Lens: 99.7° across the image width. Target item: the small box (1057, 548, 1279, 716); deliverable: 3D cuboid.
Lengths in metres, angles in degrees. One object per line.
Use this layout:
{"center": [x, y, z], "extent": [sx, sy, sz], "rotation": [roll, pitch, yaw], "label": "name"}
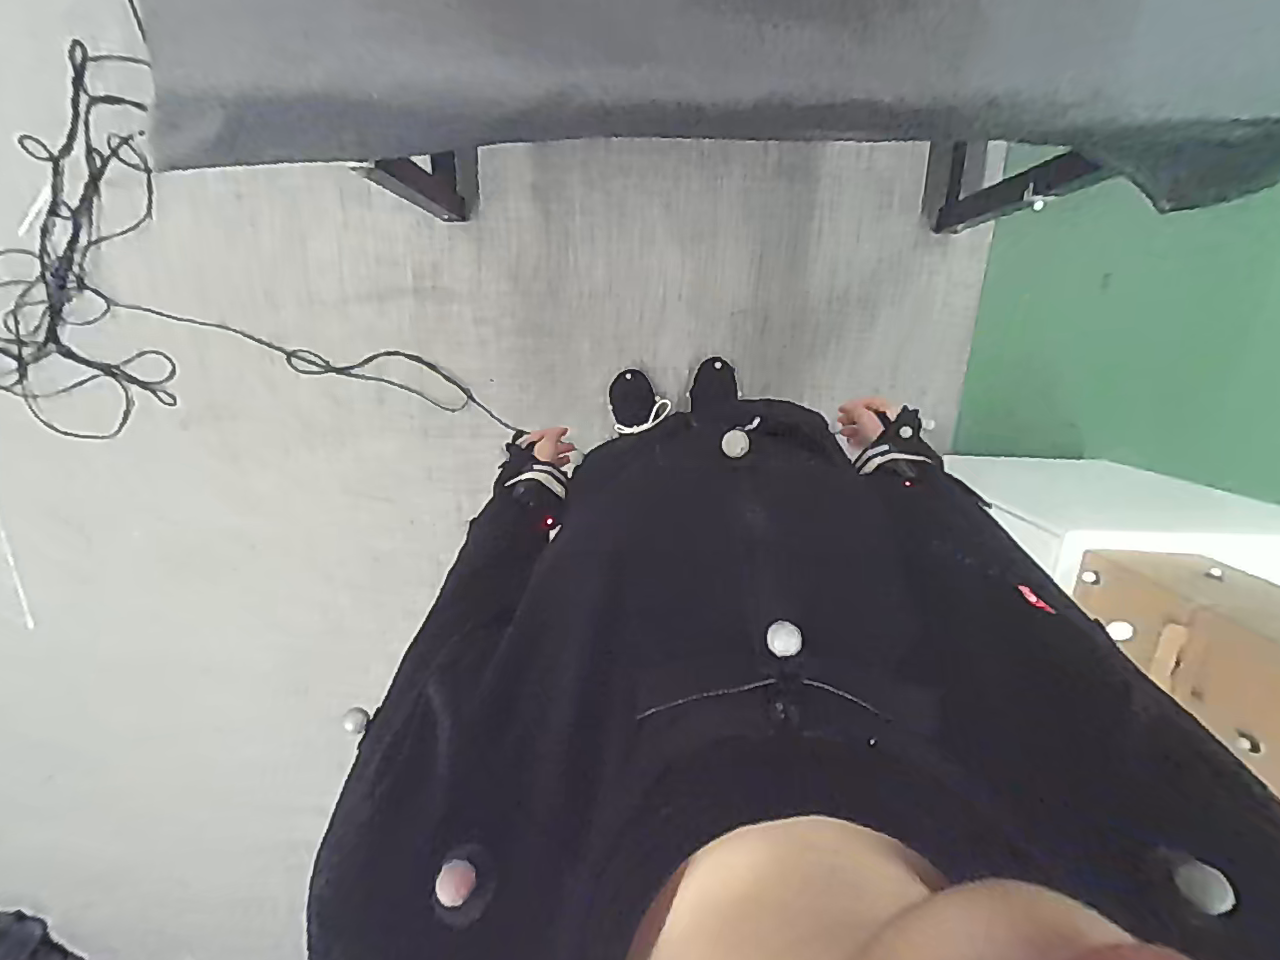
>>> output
{"center": [0.724, 0.199, 0.737], "extent": [0.179, 0.176, 0.168], "rotation": [2, 105, -2], "label": "small box"}
